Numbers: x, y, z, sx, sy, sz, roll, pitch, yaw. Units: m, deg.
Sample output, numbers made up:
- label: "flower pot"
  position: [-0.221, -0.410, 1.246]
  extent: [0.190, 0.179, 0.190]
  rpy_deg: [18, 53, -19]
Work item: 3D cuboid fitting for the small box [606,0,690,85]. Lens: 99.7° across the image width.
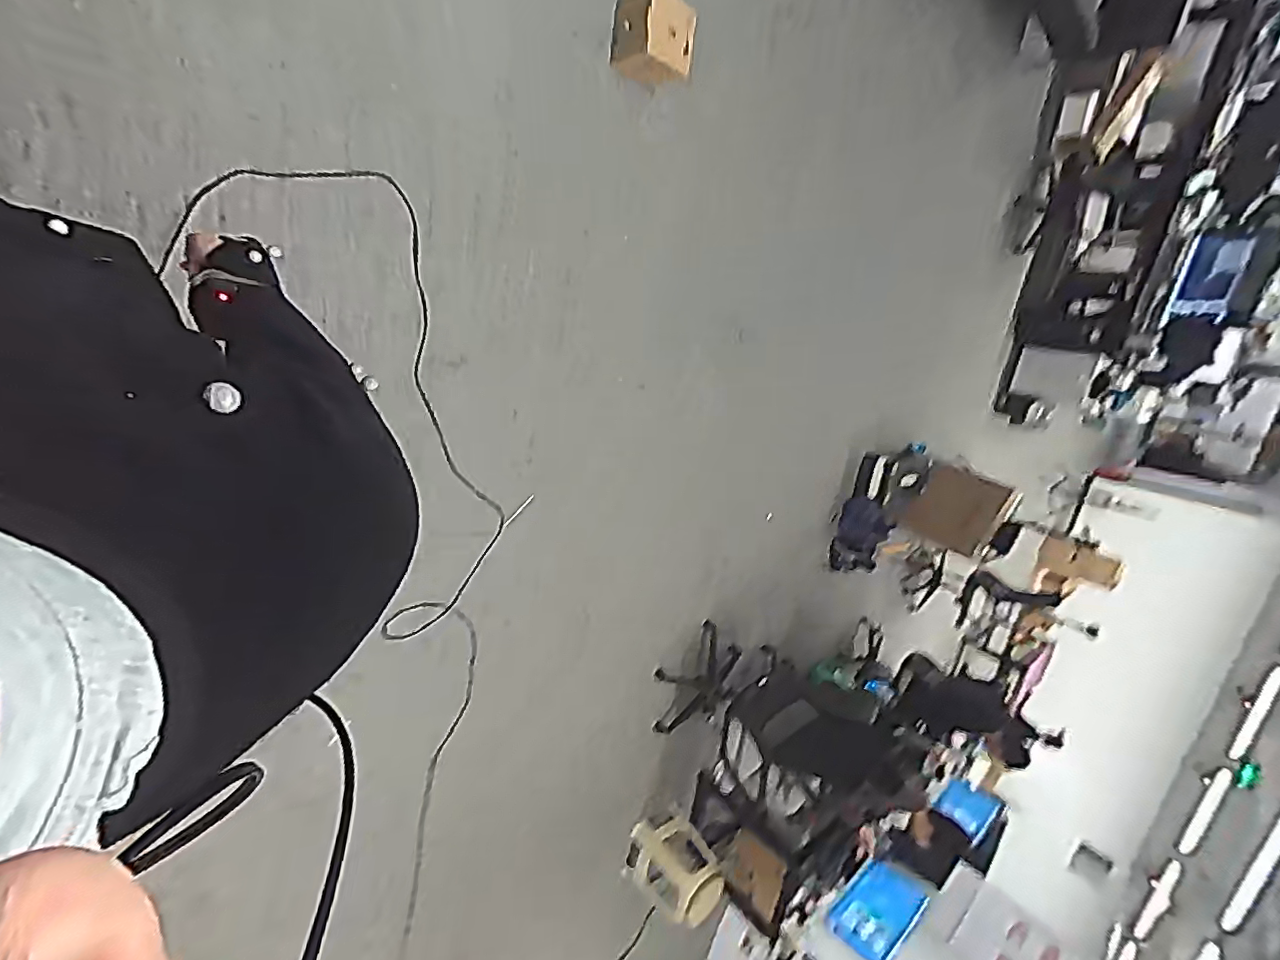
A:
- label: "small box"
  position: [0.020, -1.301, 1.595]
  extent: [0.179, 0.176, 0.168]
  rpy_deg: [-7, 112, -41]
